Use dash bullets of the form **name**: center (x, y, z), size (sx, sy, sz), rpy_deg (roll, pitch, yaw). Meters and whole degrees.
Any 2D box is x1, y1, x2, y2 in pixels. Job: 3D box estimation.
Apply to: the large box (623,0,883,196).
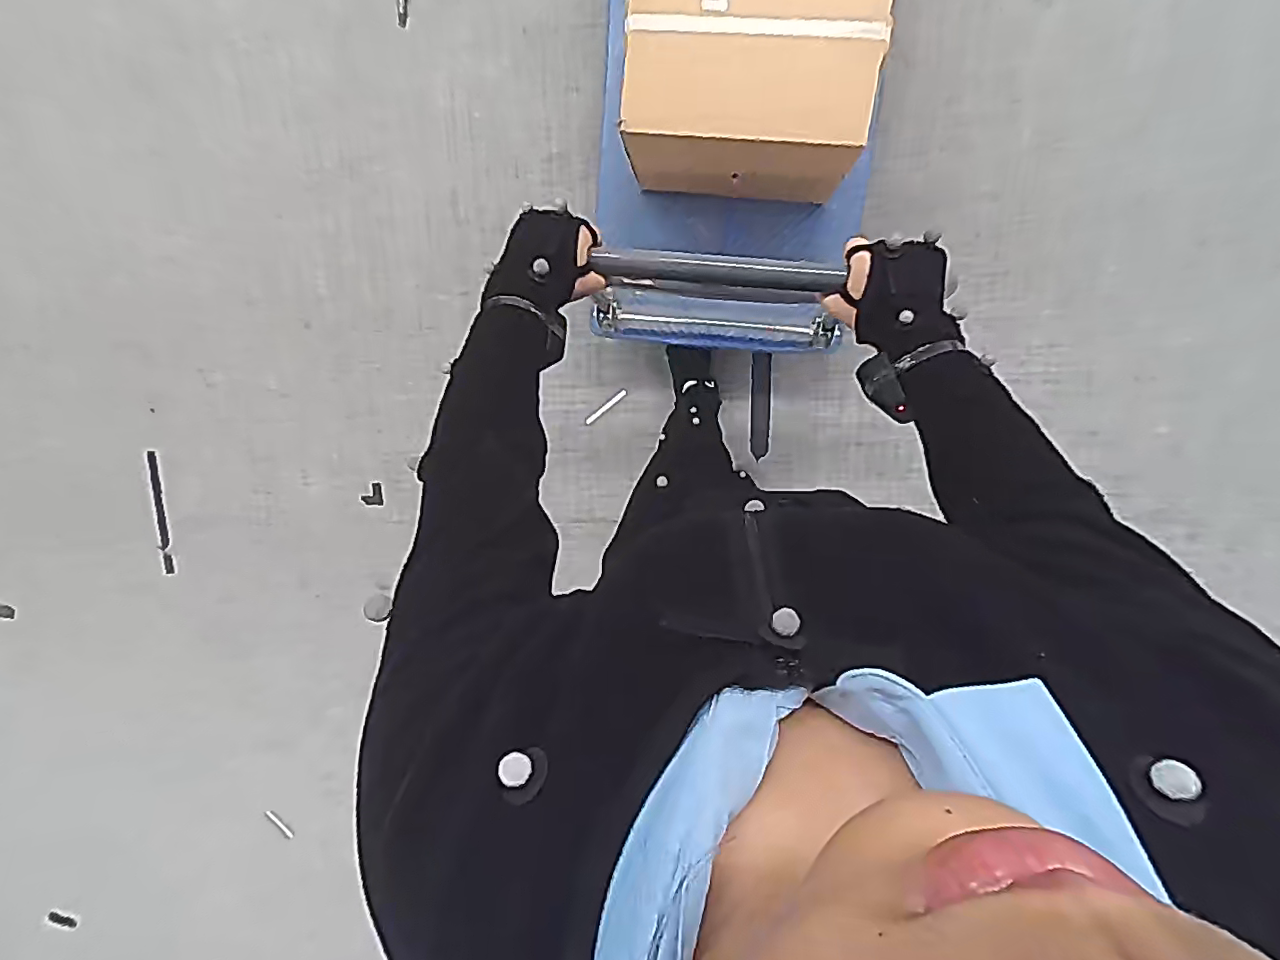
- **large box**: center (0.200, -0.750, 1.016), size (0.408, 0.320, 0.320), rpy_deg (7, 101, 7)
